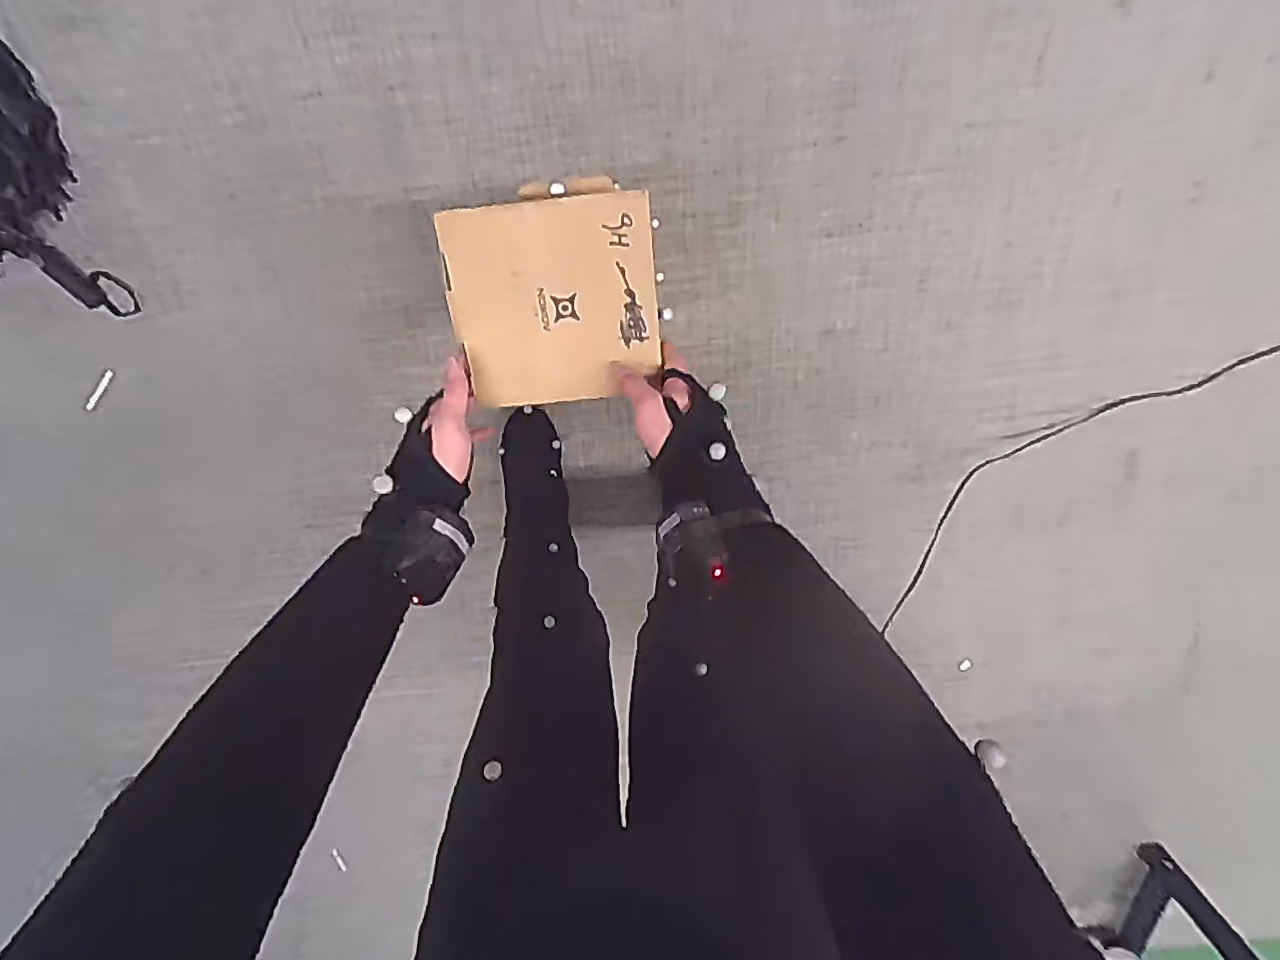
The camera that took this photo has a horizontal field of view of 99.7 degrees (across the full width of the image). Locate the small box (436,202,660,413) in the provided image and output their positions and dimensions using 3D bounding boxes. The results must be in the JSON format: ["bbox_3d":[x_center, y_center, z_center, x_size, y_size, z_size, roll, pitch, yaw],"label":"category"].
[{"bbox_3d":[-0.071,-0.173,0.535,0.179,0.176,0.168,-4,115,3],"label":"small box"}]
